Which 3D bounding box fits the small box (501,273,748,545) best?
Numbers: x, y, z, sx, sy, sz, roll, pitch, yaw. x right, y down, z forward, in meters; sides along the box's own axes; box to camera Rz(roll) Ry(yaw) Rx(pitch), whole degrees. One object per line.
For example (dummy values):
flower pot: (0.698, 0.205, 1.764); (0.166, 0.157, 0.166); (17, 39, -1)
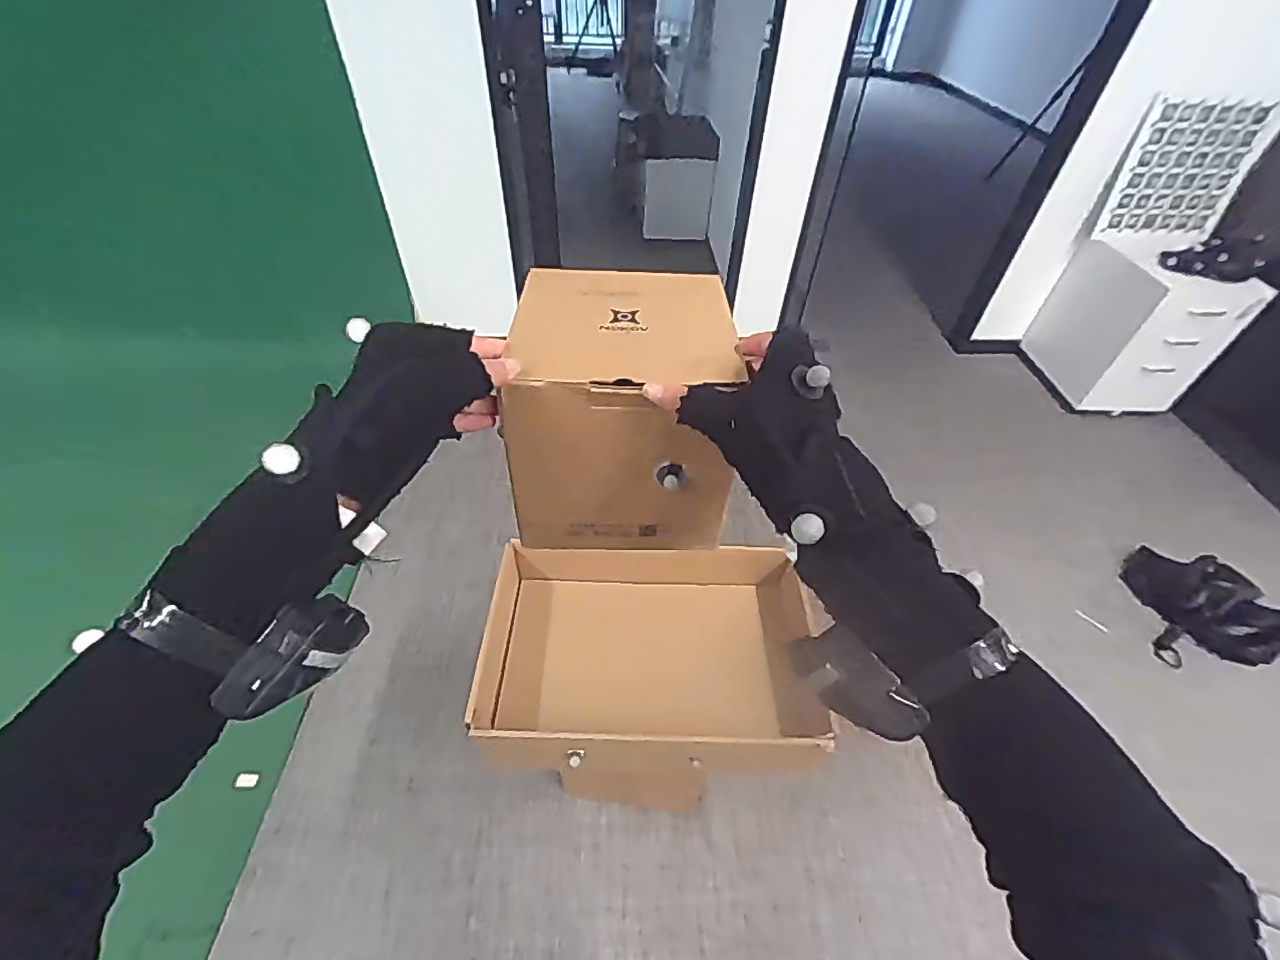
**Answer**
small box: (-0.013, -0.059, 0.465); (0.168, 0.176, 0.179); (1, 43, -3)
